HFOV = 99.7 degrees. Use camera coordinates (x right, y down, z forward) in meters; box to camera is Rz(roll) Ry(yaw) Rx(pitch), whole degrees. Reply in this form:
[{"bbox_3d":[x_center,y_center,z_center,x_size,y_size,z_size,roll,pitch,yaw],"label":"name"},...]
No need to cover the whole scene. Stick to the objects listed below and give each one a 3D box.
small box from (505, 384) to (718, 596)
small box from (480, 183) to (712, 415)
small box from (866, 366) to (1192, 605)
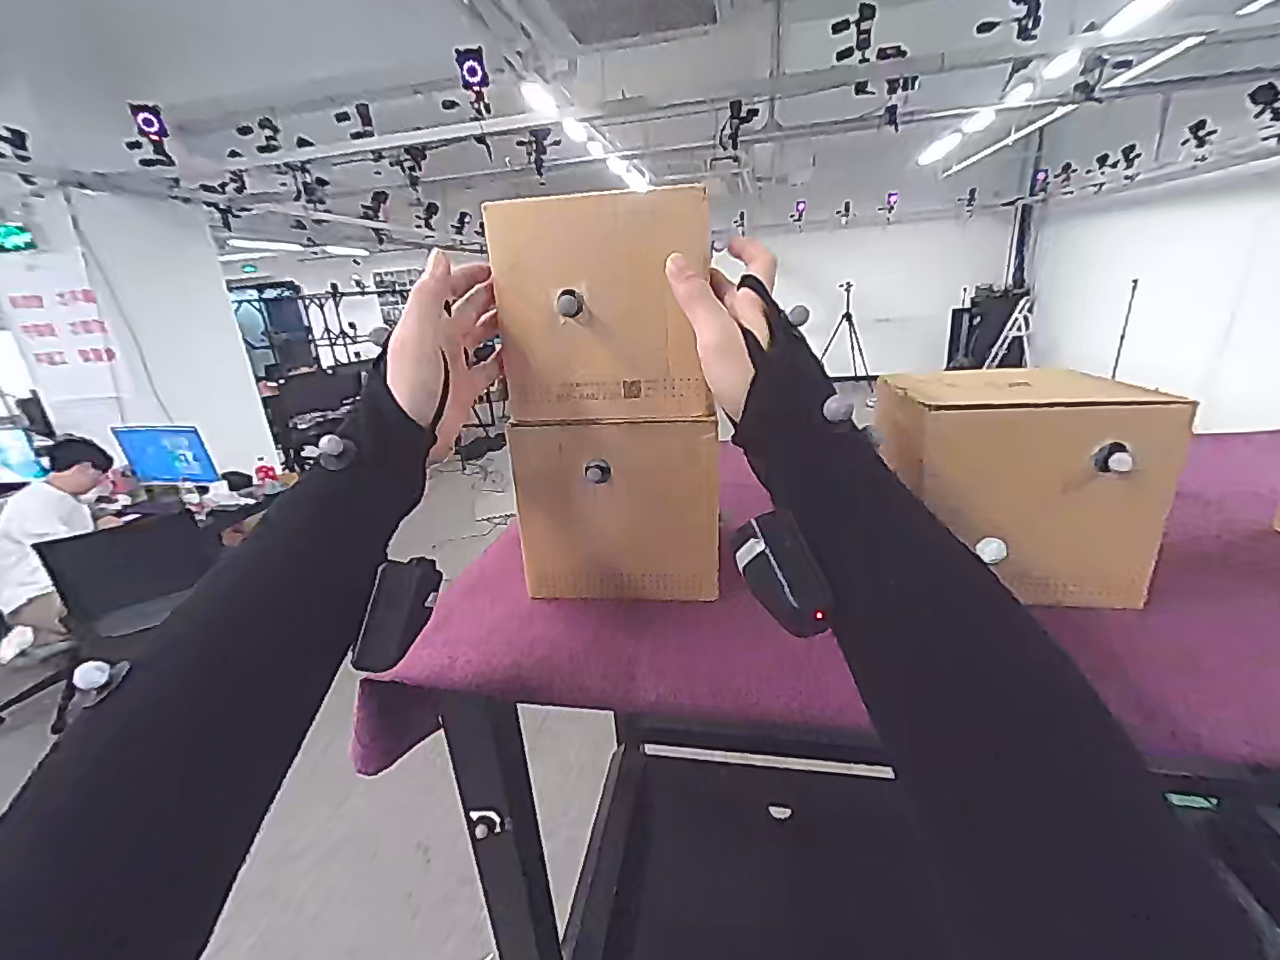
[{"bbox_3d":[-0.013,0.002,0.537,0.179,0.176,0.168,0,20,8],"label":"small box"},{"bbox_3d":[-0.021,-0.152,0.491,0.168,0.176,0.179,-1,19,9],"label":"small box"},{"bbox_3d":[0.313,-0.003,0.484,0.179,0.176,0.168,0,19,12],"label":"small box"}]
